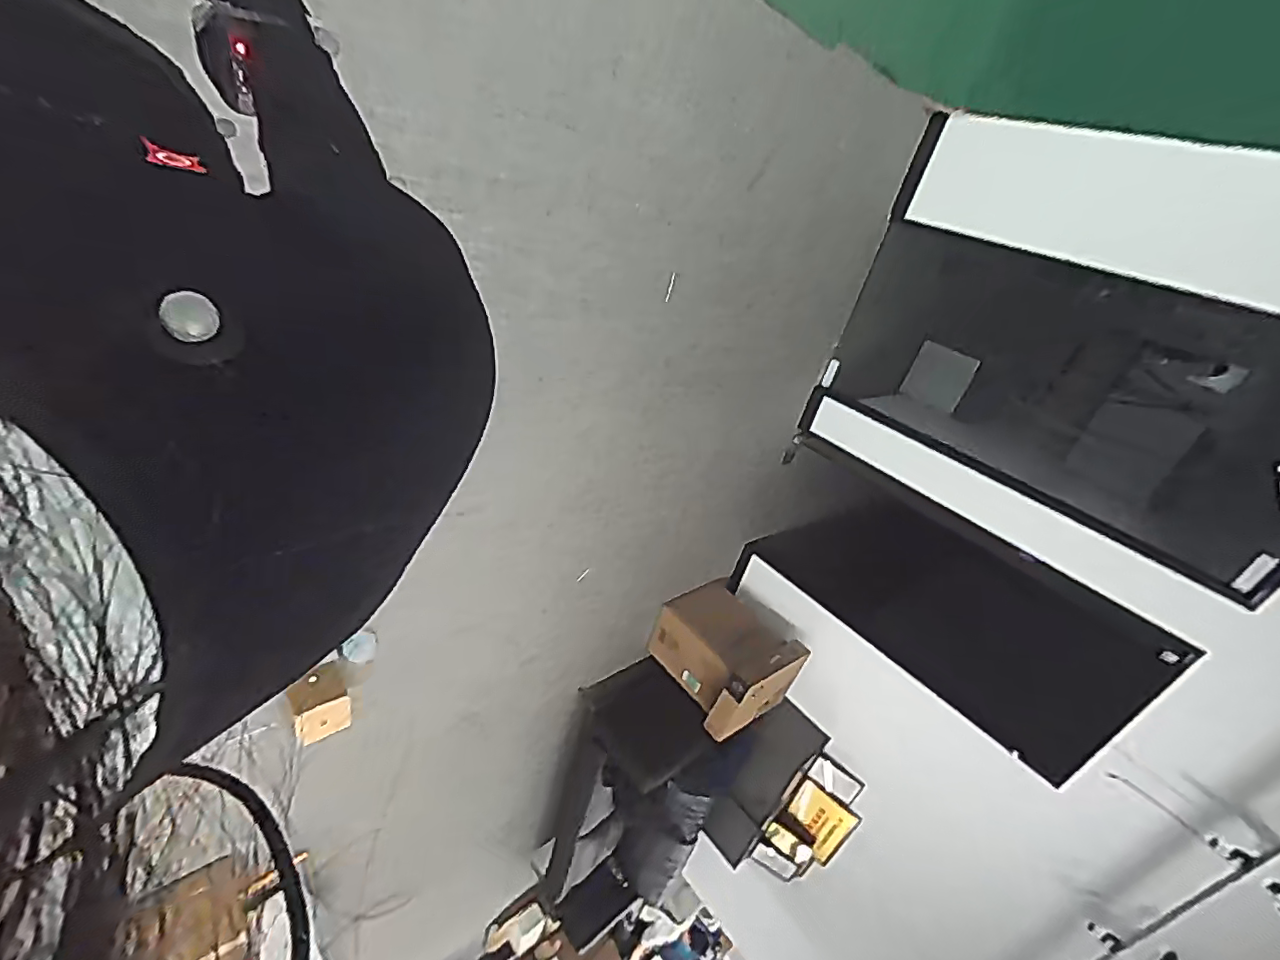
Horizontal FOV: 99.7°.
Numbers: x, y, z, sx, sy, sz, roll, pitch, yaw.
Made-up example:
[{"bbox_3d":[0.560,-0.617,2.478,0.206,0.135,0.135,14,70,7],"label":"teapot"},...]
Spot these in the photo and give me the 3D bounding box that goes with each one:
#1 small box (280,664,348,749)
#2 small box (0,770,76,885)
[{"bbox_3d":[-1.123,0.774,1.863,0.168,0.176,0.179,-14,131,-42],"label":"small box"},{"bbox_3d":[-1.624,0.911,1.416,0.179,0.176,0.168,-14,130,-42],"label":"small box"}]
